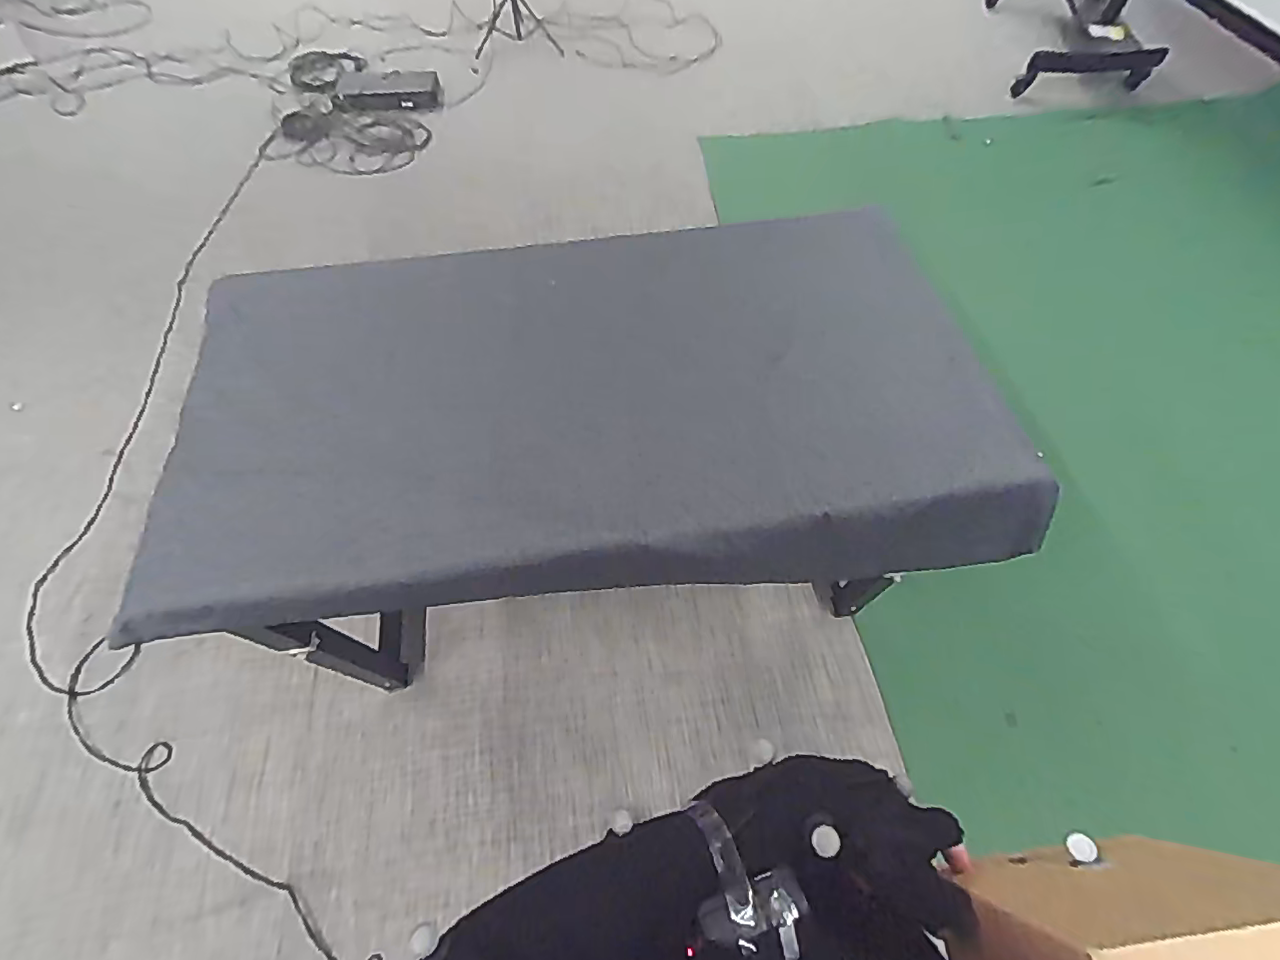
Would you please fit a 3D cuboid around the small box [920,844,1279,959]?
[{"bbox_3d":[0.289,0.322,0.293,0.168,0.176,0.179,-6,64,-2],"label":"small box"}]
